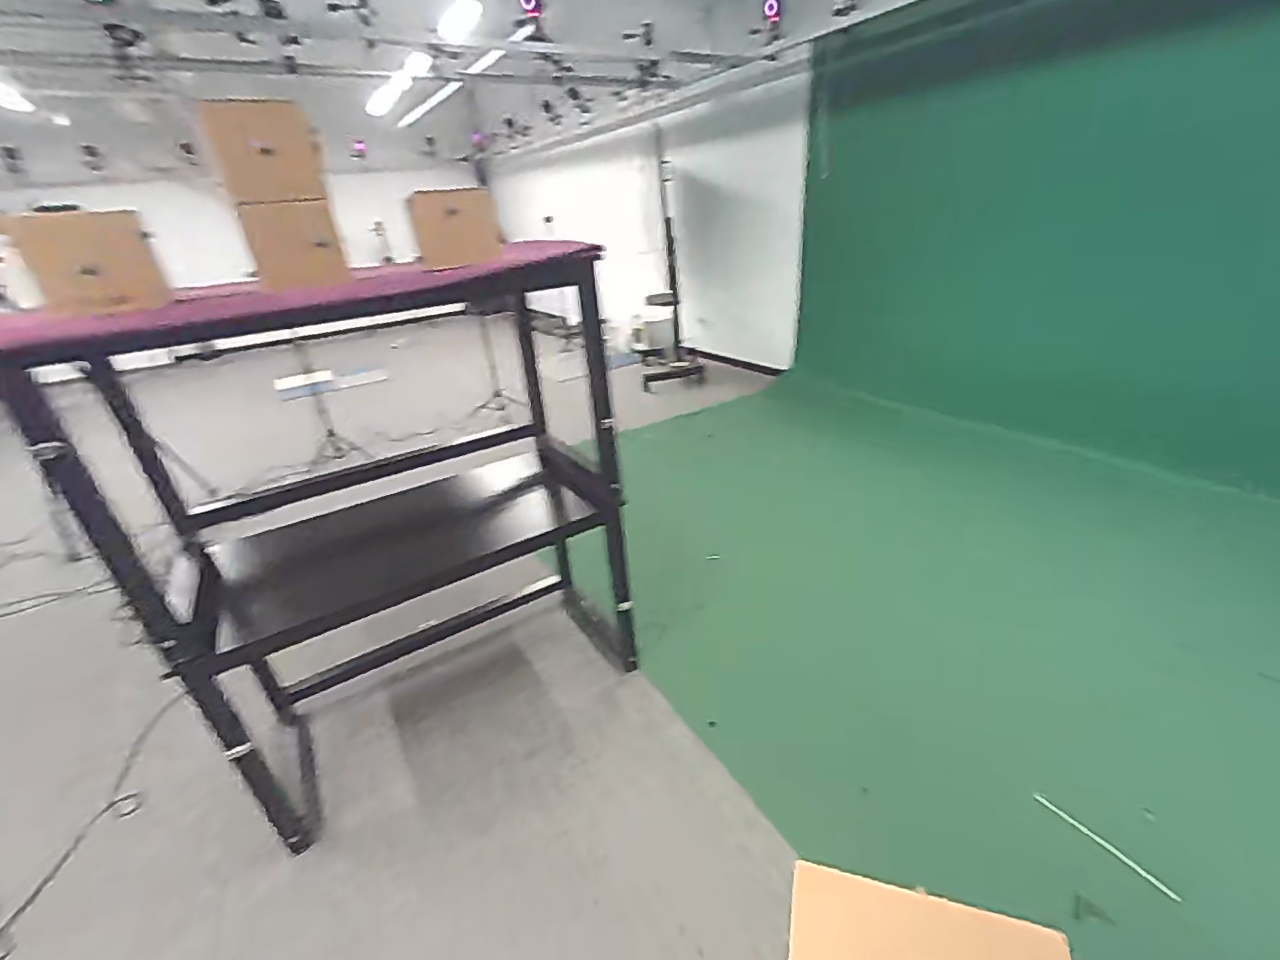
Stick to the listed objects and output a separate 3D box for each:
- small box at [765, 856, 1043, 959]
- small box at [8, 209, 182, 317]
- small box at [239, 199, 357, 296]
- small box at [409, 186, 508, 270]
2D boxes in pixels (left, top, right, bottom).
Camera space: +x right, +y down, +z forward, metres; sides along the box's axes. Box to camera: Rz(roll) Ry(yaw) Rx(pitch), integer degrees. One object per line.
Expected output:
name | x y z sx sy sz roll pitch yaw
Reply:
small box | 0.174 0.407 0.377 0.179 0.176 0.168 4 37 17
small box | -0.993 -0.405 1.008 0.168 0.176 0.179 -19 30 -28
small box | -0.727 -0.501 1.161 0.179 0.176 0.168 -21 30 -27
small box | -0.447 -0.616 1.335 0.179 0.176 0.168 -19 28 -26
